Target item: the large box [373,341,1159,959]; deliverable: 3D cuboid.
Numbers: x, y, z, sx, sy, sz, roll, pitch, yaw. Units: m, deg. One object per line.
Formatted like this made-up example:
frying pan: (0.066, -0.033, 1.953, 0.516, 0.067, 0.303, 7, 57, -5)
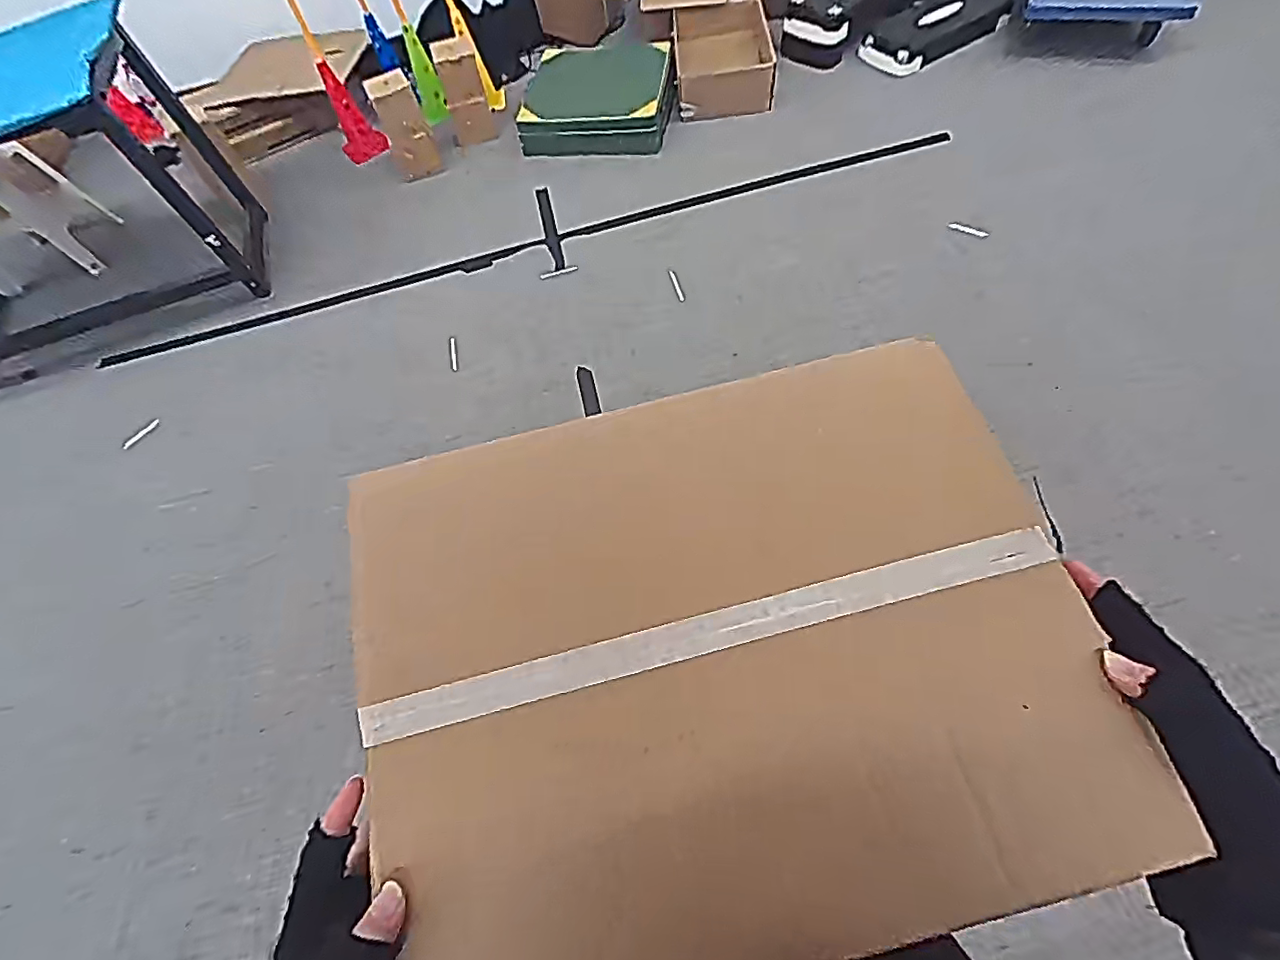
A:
large box: (0.051, 0.142, 0.465, 0.408, 0.320, 0.320, -15, 69, -2)
